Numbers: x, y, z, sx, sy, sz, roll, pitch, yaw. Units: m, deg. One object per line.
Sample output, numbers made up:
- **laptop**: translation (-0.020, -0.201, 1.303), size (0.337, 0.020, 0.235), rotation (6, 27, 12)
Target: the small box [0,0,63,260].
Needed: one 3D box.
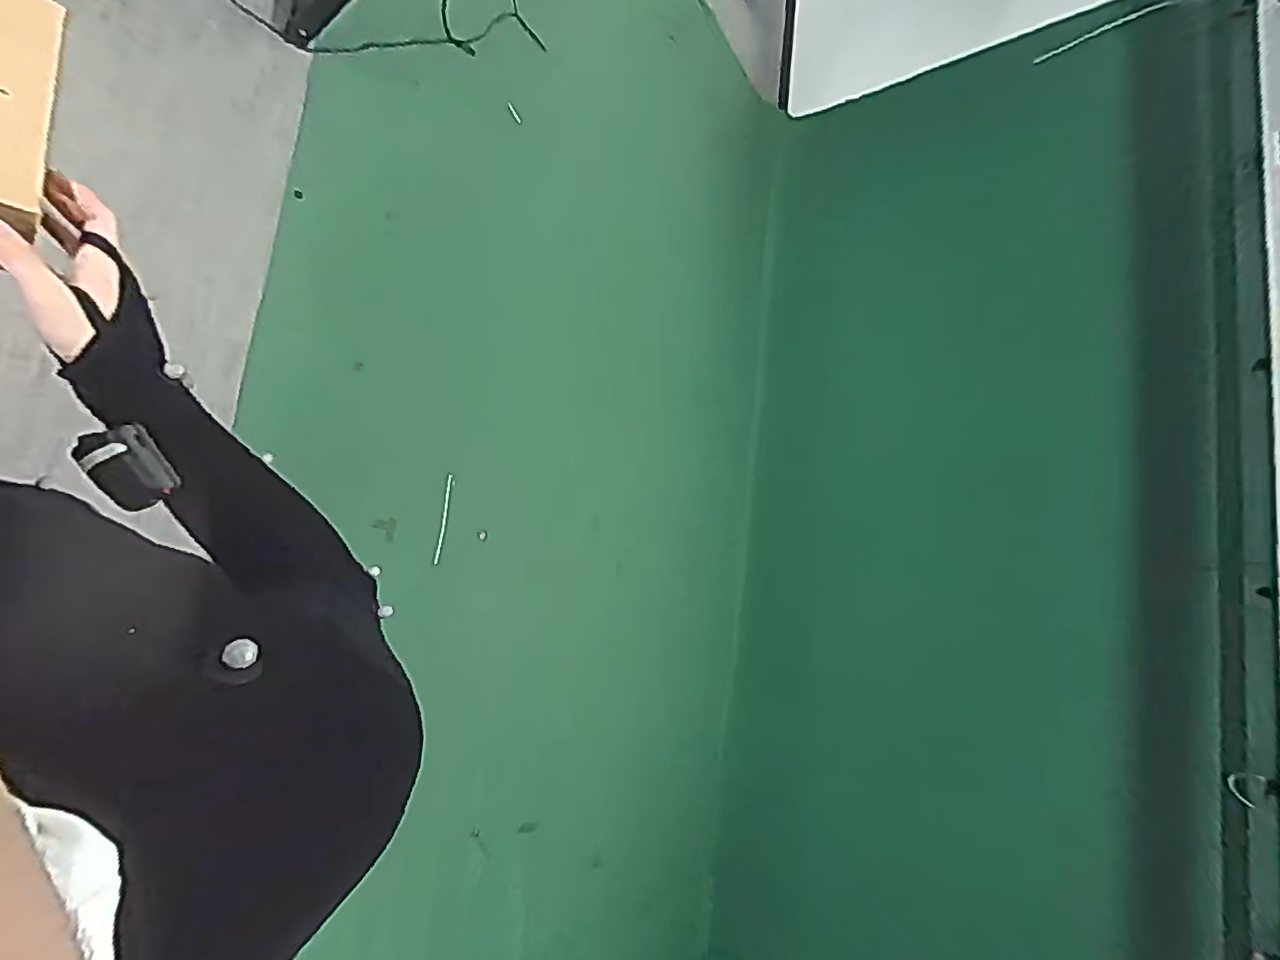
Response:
- **small box**: translation (-0.546, -0.277, 0.375), size (0.179, 0.176, 0.168), rotation (10, 81, -51)
